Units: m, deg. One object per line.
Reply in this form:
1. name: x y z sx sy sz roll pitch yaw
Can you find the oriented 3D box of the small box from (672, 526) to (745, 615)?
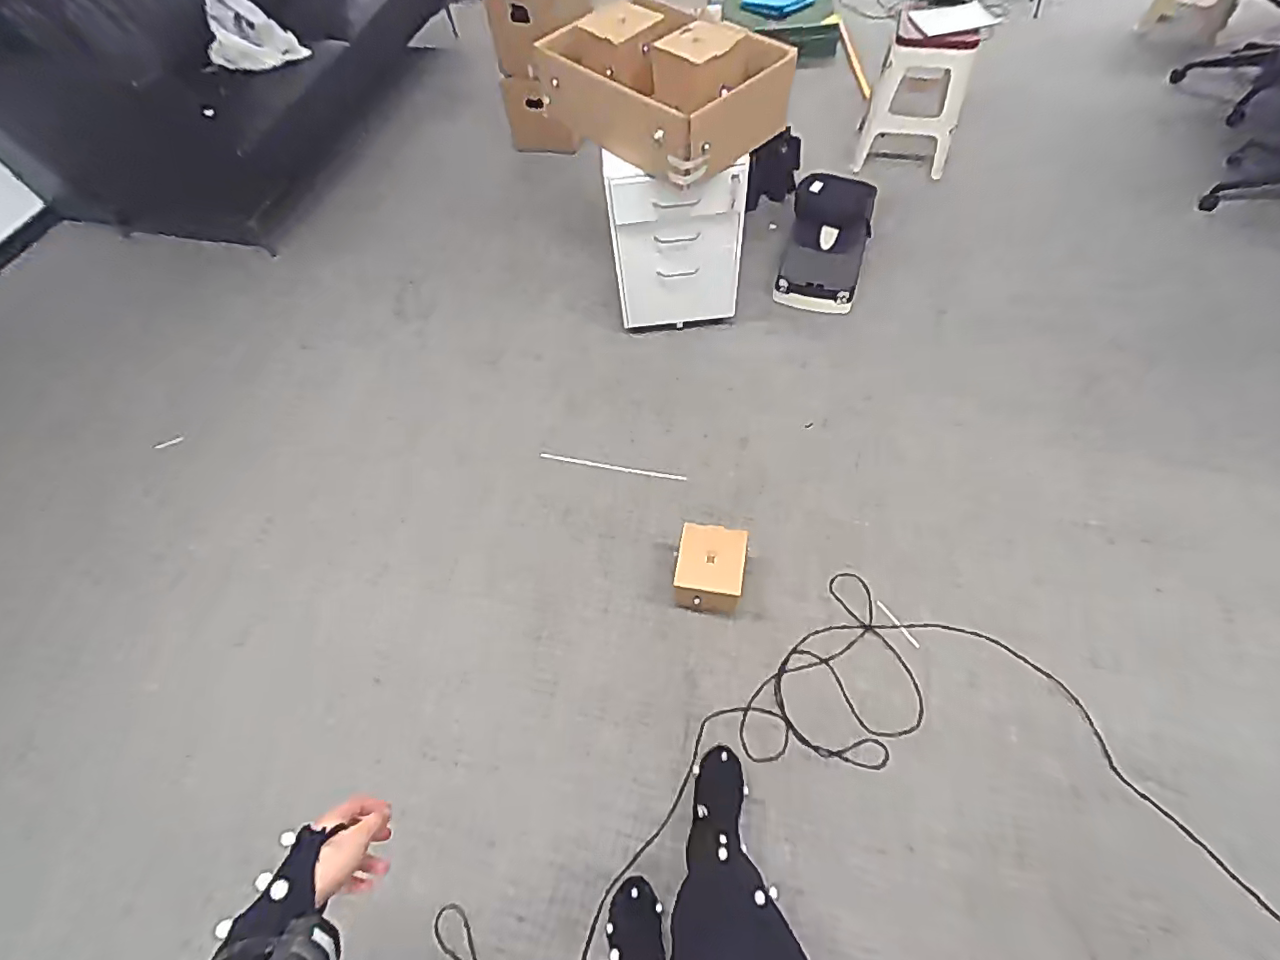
1. small box: 0.183 0.243 1.423 0.168 0.176 0.179 7 60 10
